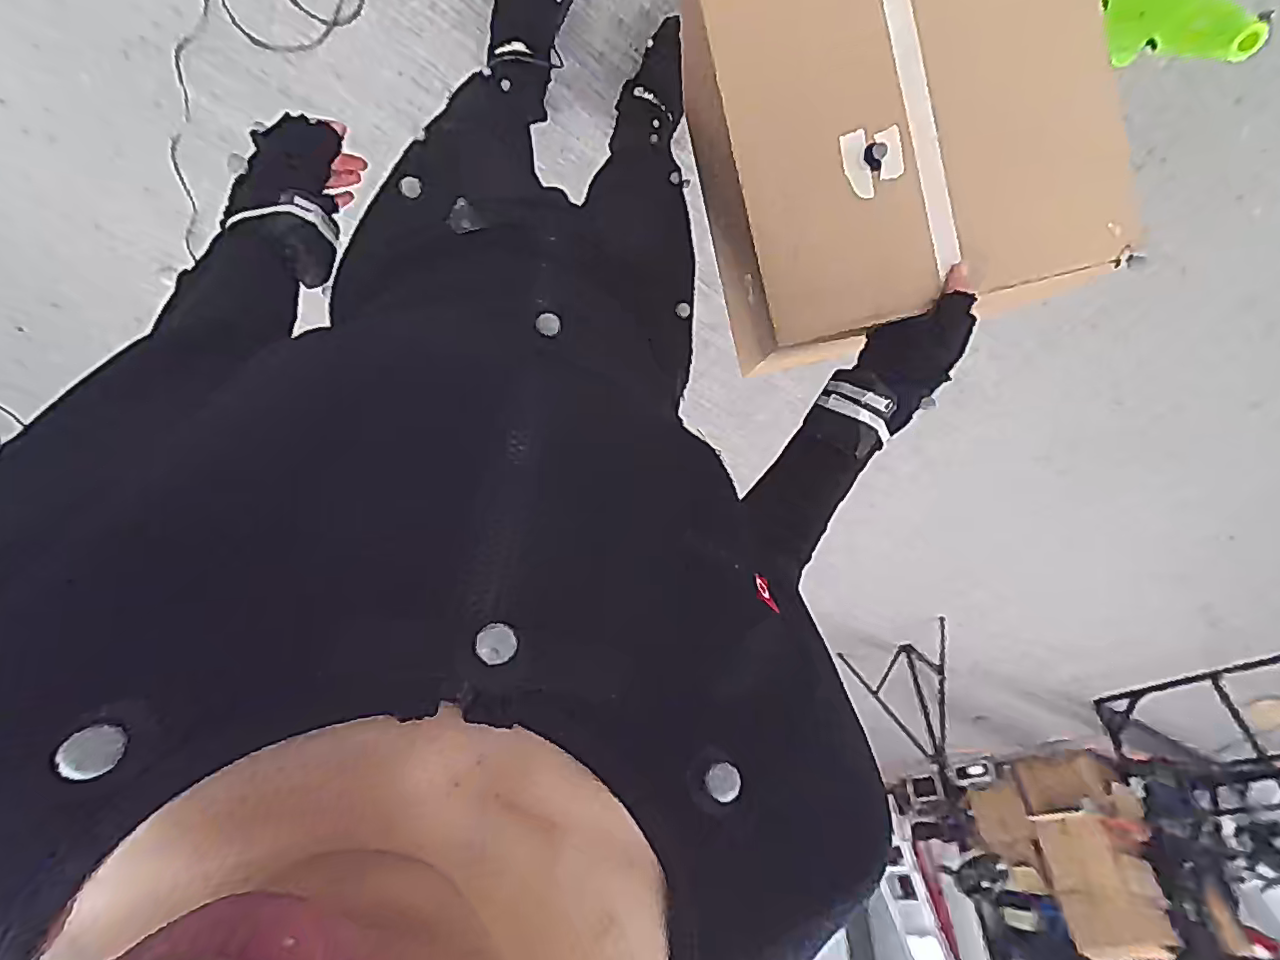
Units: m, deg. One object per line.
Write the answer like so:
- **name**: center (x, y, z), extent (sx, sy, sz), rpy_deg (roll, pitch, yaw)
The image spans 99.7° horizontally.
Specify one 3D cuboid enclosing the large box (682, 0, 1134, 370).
- **large box**: center (0.244, -0.370, 0.616), extent (0.320, 0.320, 0.408), rpy_deg (-14, 95, 7)
